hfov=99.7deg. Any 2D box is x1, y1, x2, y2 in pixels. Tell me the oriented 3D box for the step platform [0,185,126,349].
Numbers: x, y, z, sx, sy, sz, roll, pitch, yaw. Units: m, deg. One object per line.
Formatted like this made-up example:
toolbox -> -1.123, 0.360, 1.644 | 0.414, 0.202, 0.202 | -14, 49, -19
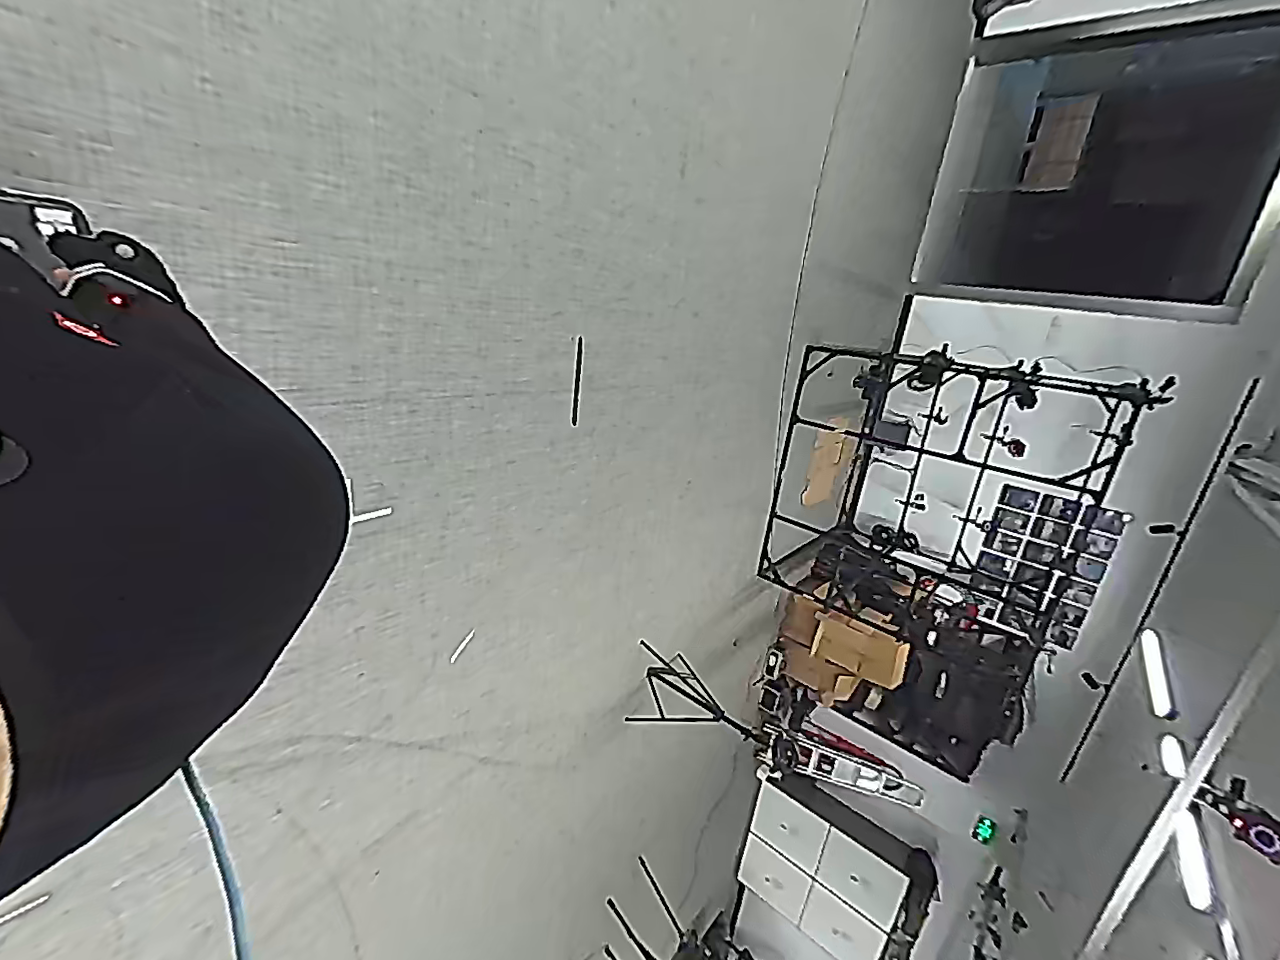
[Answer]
step platform -> -1.299, -0.364, 0.869 | 0.684, 0.204, 0.286 | -18, 121, -50
